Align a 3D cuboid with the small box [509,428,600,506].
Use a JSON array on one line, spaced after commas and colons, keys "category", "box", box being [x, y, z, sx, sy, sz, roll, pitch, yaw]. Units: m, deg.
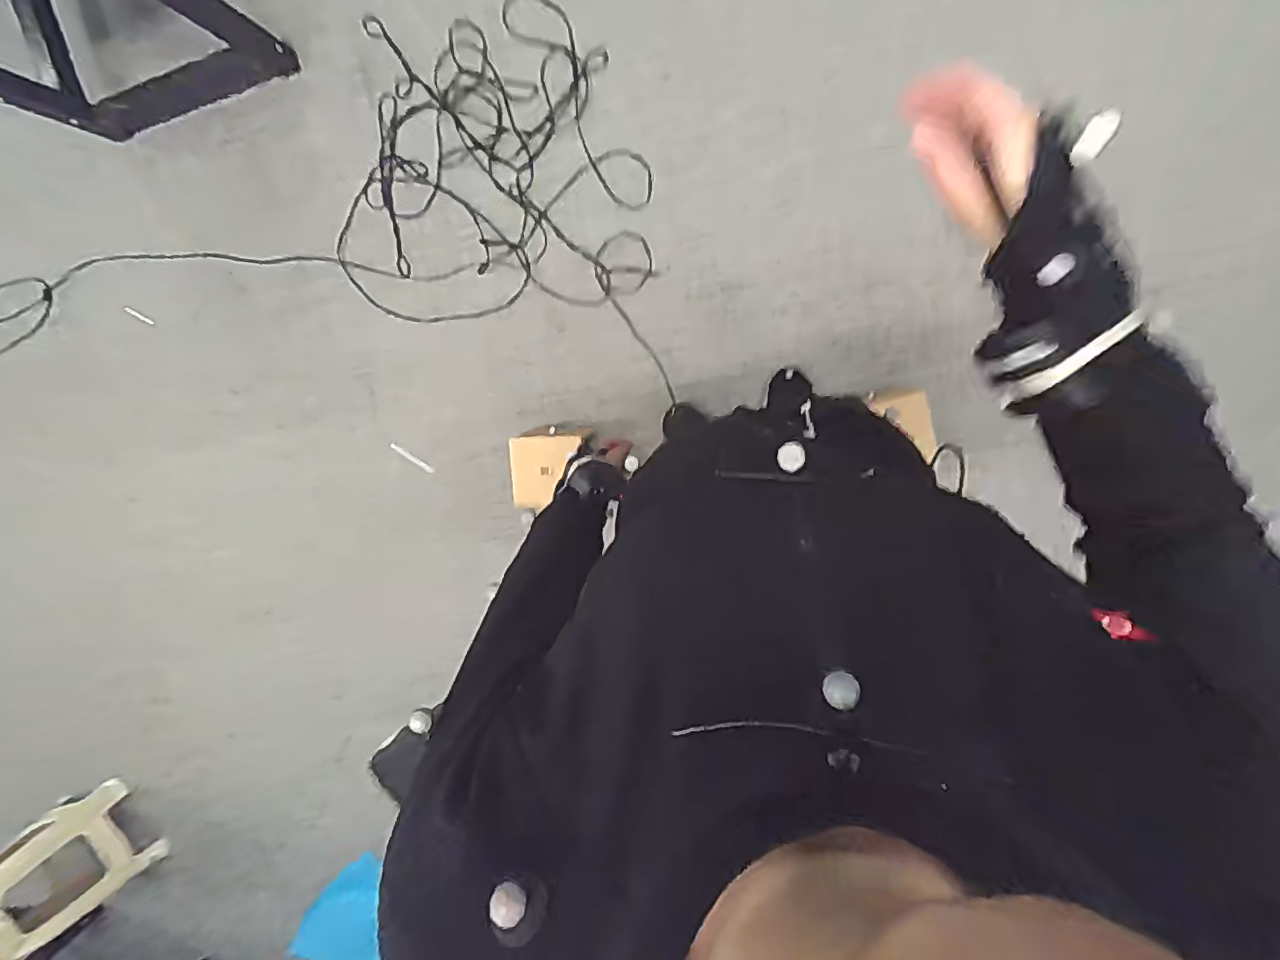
[{"category": "small box", "box": [-0.203, -0.036, 1.329, 0.179, 0.176, 0.168, -1, 102, 8]}]
